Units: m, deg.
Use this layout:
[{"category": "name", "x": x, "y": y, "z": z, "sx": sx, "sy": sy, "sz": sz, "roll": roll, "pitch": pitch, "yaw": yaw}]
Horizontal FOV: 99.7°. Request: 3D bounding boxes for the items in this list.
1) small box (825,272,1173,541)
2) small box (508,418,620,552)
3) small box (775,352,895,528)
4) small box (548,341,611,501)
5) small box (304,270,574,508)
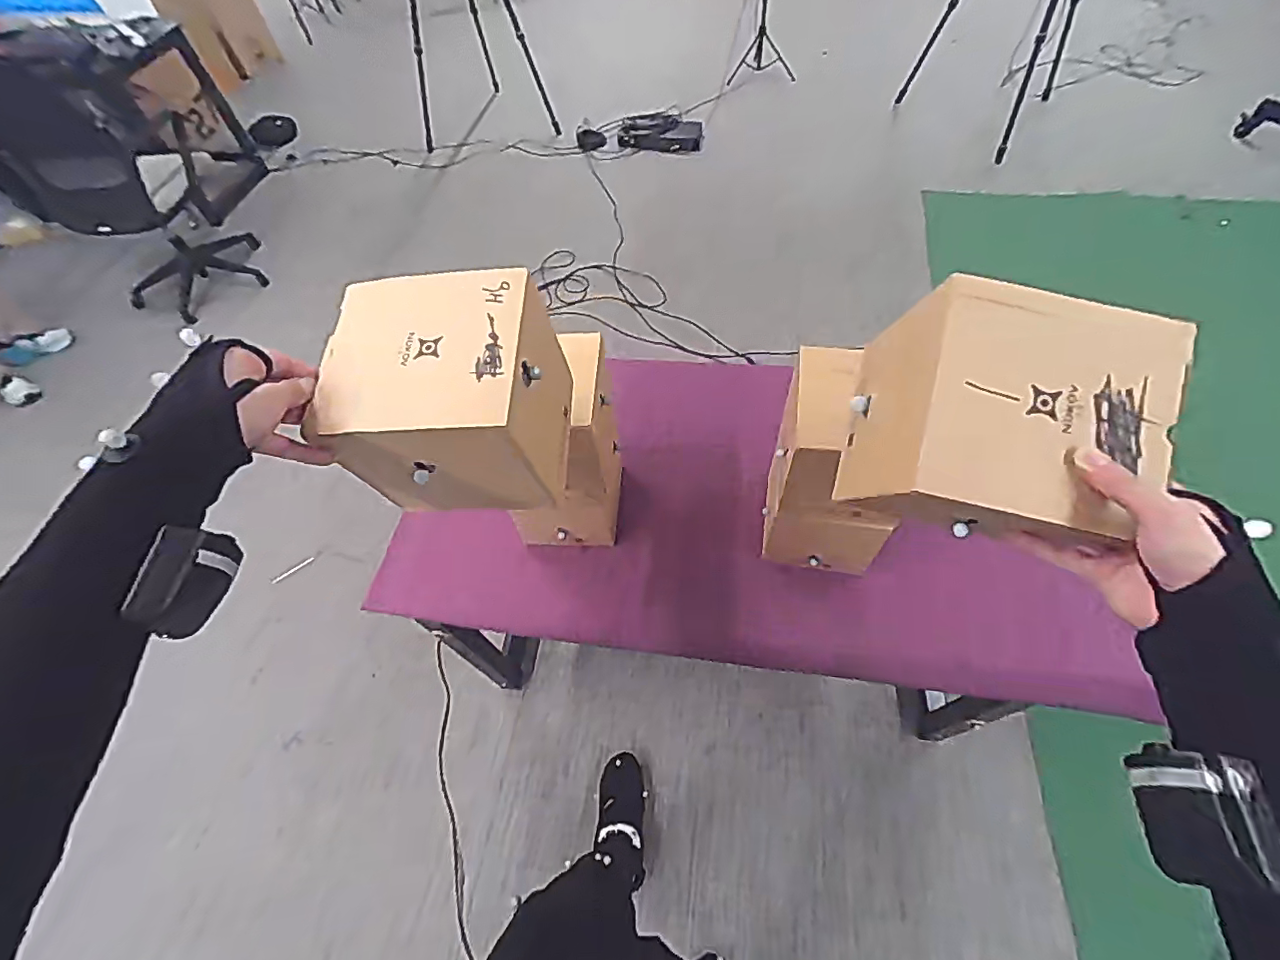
[{"category": "small box", "x": 0.283, "y": -0.048, "z": 0.466, "sx": 0.179, "sy": 0.176, "sz": 0.168, "roll": 13, "pitch": 84, "yaw": 3}, {"category": "small box", "x": -0.128, "y": 0.009, "z": 0.945, "sx": 0.168, "sy": 0.176, "sz": 0.179, "roll": 1, "pitch": 56, "yaw": 6}, {"category": "small box", "x": 0.284, "y": -0.051, "z": 0.749, "sx": 0.168, "sy": 0.176, "sz": 0.179, "roll": 6, "pitch": 57, "yaw": 9}, {"category": "small box", "x": -0.136, "y": -0.085, "z": 0.812, "sx": 0.168, "sy": 0.176, "sz": 0.179, "roll": -1, "pitch": 57, "yaw": 4}, {"category": "small box", "x": -0.177, "y": -0.078, "z": 0.536, "sx": 0.179, "sy": 0.176, "sz": 0.168, "roll": -3, "pitch": 64, "yaw": 8}]
